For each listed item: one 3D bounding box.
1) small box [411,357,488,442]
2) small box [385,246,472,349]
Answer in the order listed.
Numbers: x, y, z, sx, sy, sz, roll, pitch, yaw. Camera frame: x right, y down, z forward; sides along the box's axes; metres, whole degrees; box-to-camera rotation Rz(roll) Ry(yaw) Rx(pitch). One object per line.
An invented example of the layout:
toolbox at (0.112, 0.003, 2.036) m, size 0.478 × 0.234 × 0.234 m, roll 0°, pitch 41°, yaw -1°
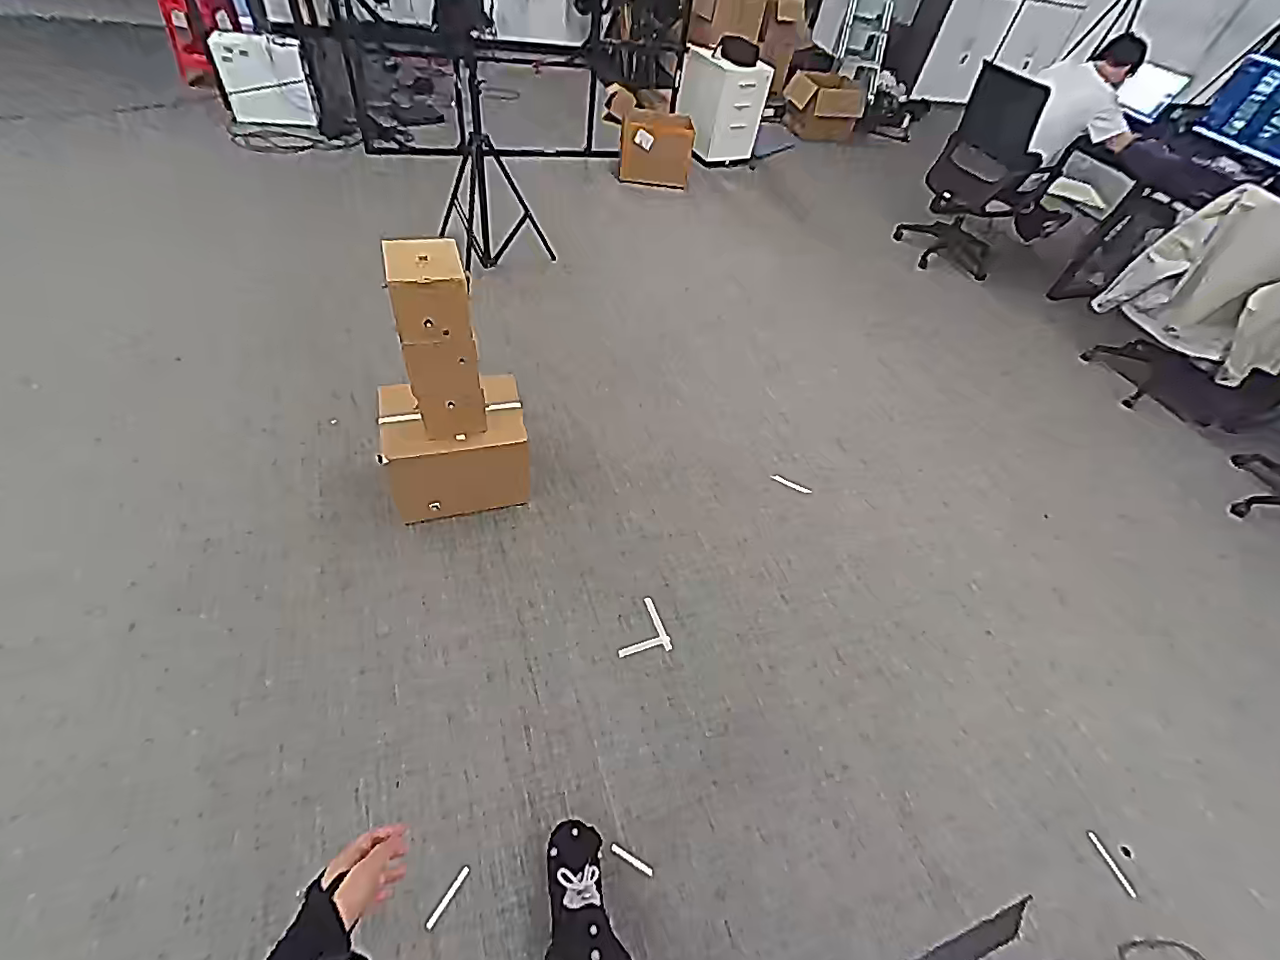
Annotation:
small box at (-0.541, -0.226, 1.548) m, size 0.179 × 0.176 × 0.168 m, roll -11°, pitch 54°, yaw -20°
small box at (-0.507, -0.439, 1.302) m, size 0.168 × 0.176 × 0.179 m, roll -11°, pitch 55°, yaw -19°
